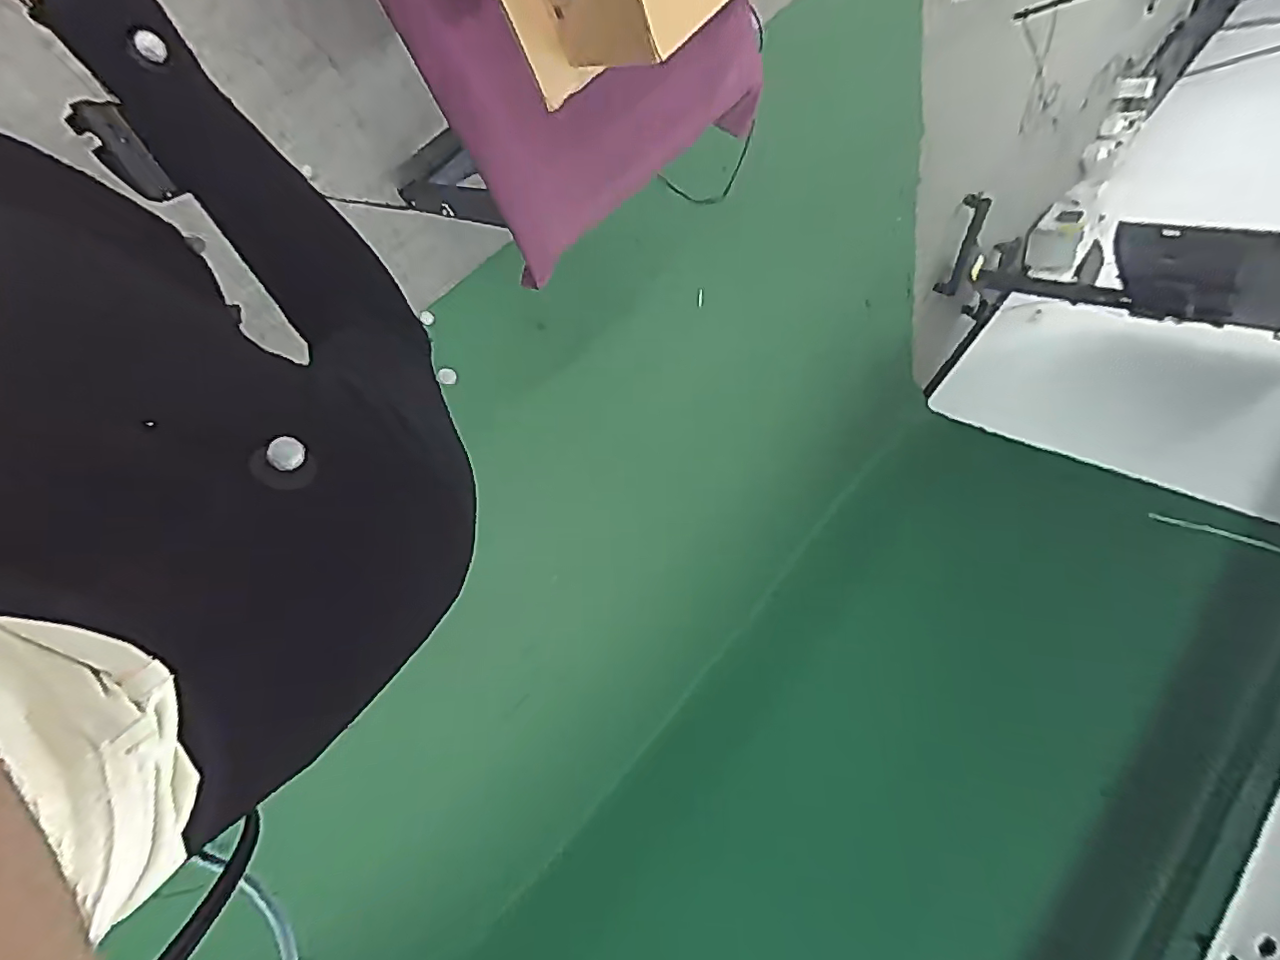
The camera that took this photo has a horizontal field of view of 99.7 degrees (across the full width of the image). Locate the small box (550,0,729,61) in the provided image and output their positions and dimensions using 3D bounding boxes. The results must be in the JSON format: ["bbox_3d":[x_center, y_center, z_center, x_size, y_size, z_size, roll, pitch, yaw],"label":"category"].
[{"bbox_3d":[-0.002,-0.612,0.610,0.179,0.176,0.168,-48,142,-11],"label":"small box"}]
